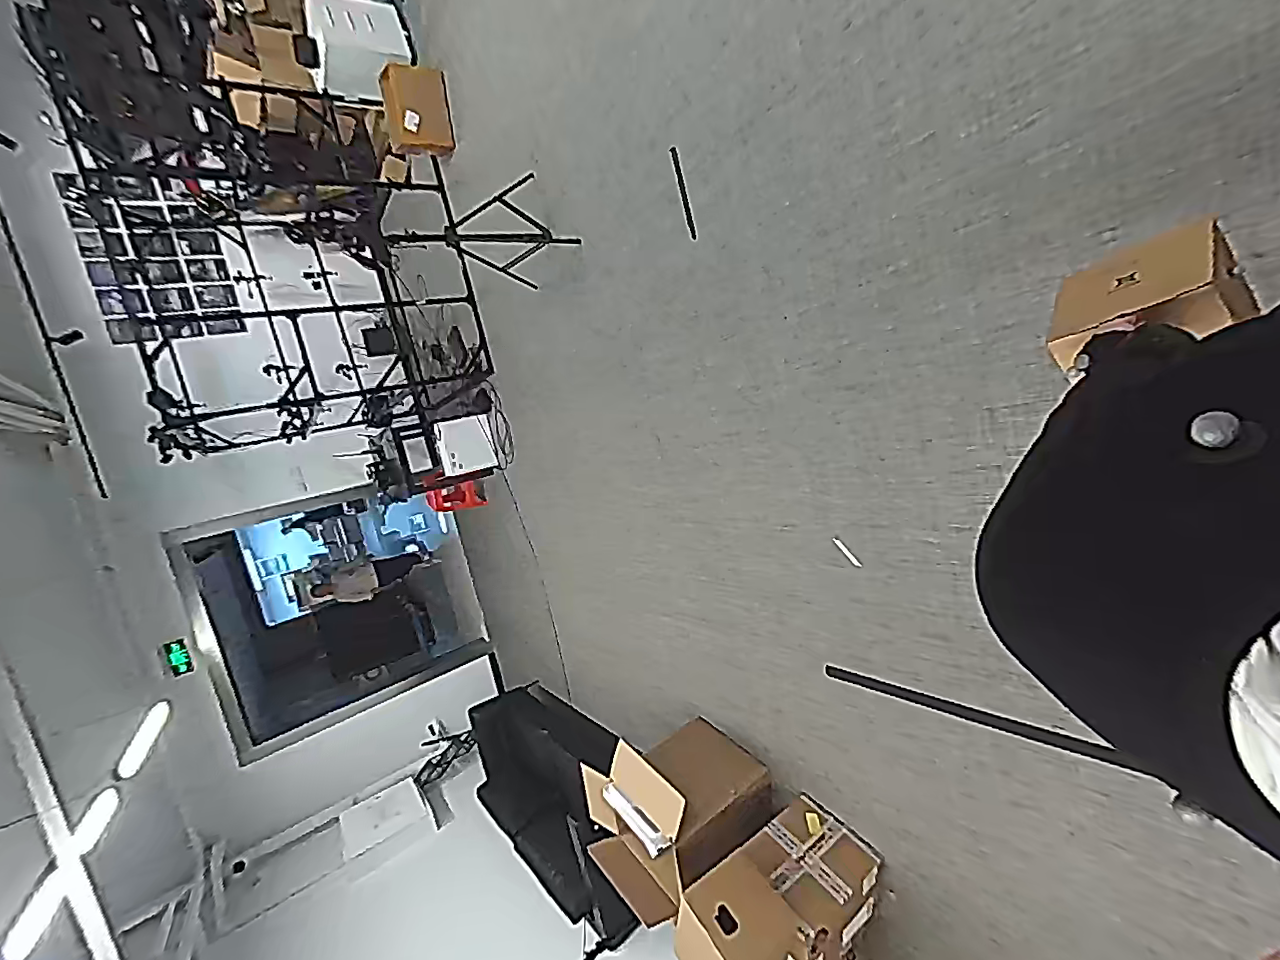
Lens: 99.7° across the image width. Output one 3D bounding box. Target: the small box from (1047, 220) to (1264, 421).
[{"bbox_3d":[0.692,-0.200,0.728,0.176,0.179,0.168,47,149,-15],"label":"small box"}]
